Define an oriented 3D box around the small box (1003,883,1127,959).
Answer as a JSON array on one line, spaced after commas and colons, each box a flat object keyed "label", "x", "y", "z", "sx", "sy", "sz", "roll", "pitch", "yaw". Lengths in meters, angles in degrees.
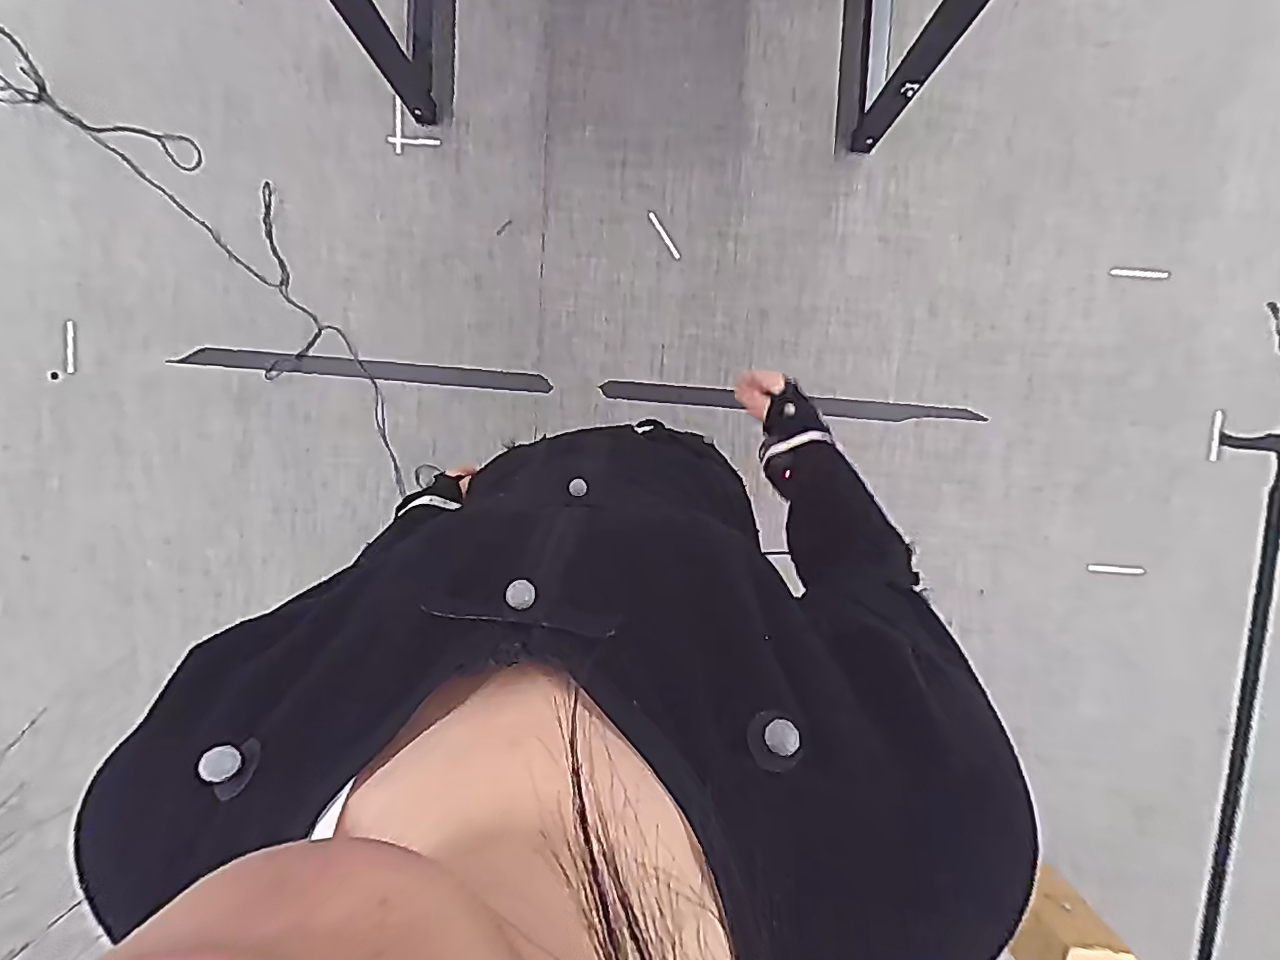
[{"label": "small box", "x": 1.046, "y": 1.161, "z": 1.347, "sx": 0.168, "sy": 0.176, "sz": 0.179, "roll": 8, "pitch": 94, "yaw": -1}]
